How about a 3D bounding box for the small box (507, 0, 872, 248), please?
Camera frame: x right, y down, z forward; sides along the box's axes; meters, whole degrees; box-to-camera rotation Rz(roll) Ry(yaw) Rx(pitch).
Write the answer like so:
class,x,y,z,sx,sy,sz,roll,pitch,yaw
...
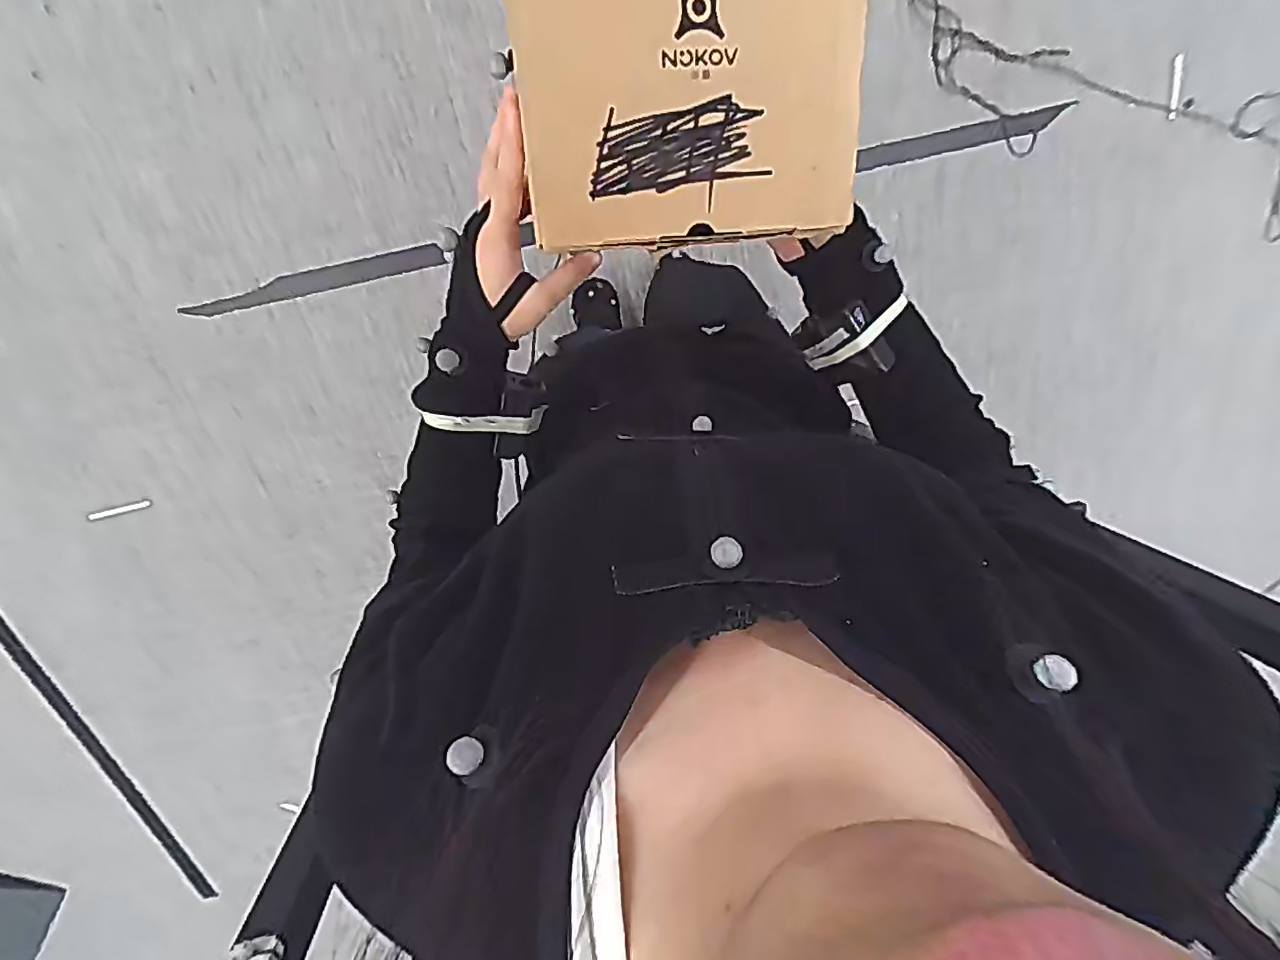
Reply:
class,x,y,z,sx,sy,sz,roll,pitch,yaw
small box,0.013,-0.235,0.312,0.168,0.176,0.179,-8,113,-8
